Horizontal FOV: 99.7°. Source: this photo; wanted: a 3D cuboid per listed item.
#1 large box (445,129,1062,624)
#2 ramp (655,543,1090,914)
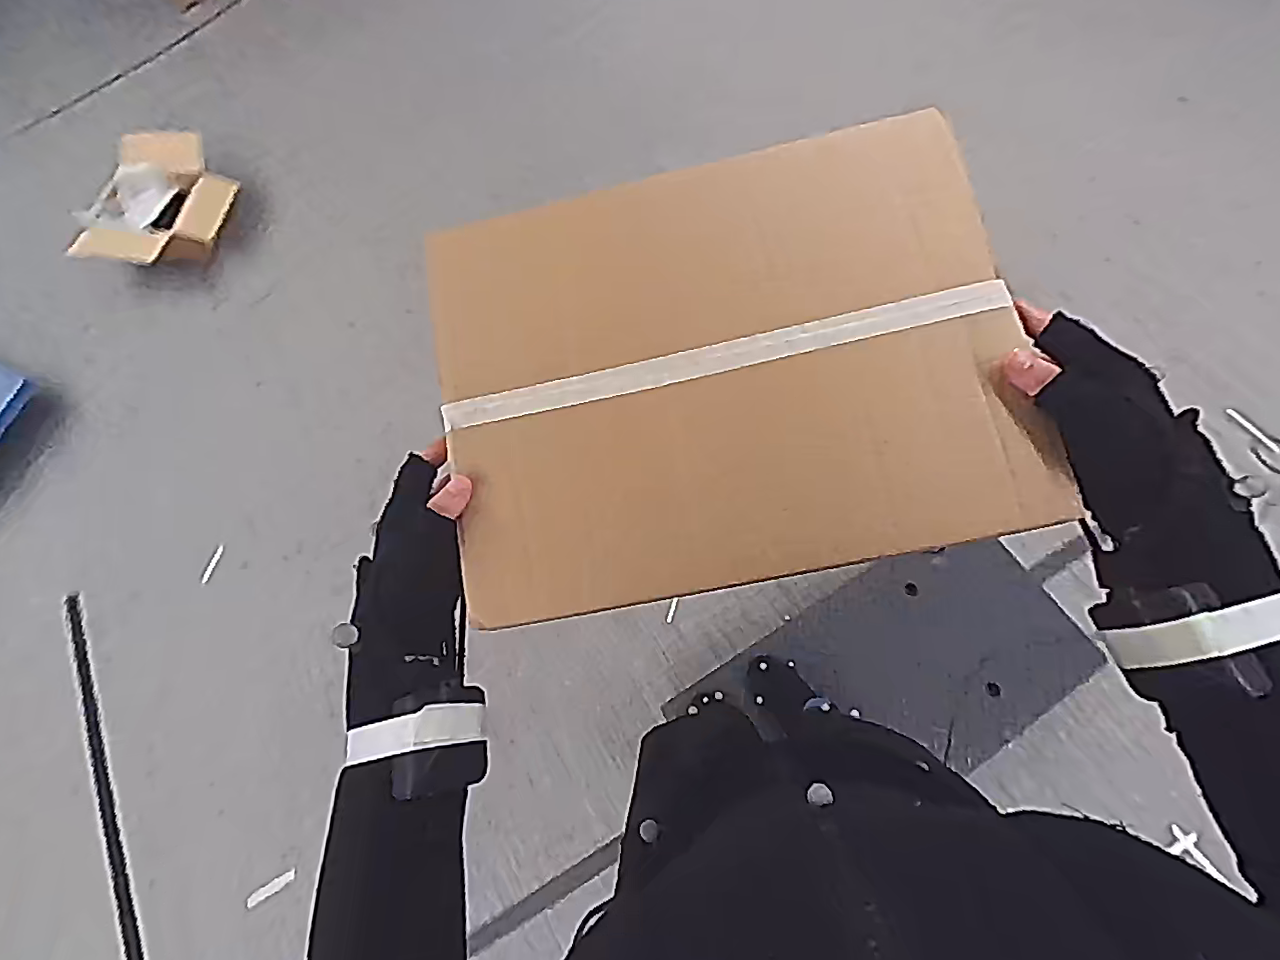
[{"bbox_3d":[0.078,-0.058,0.540,0.408,0.320,0.320,-10,79,5],"label":"large box"},{"bbox_3d":[0.578,0.495,1.333,0.991,0.206,0.509,-34,69,-3],"label":"ramp"}]
